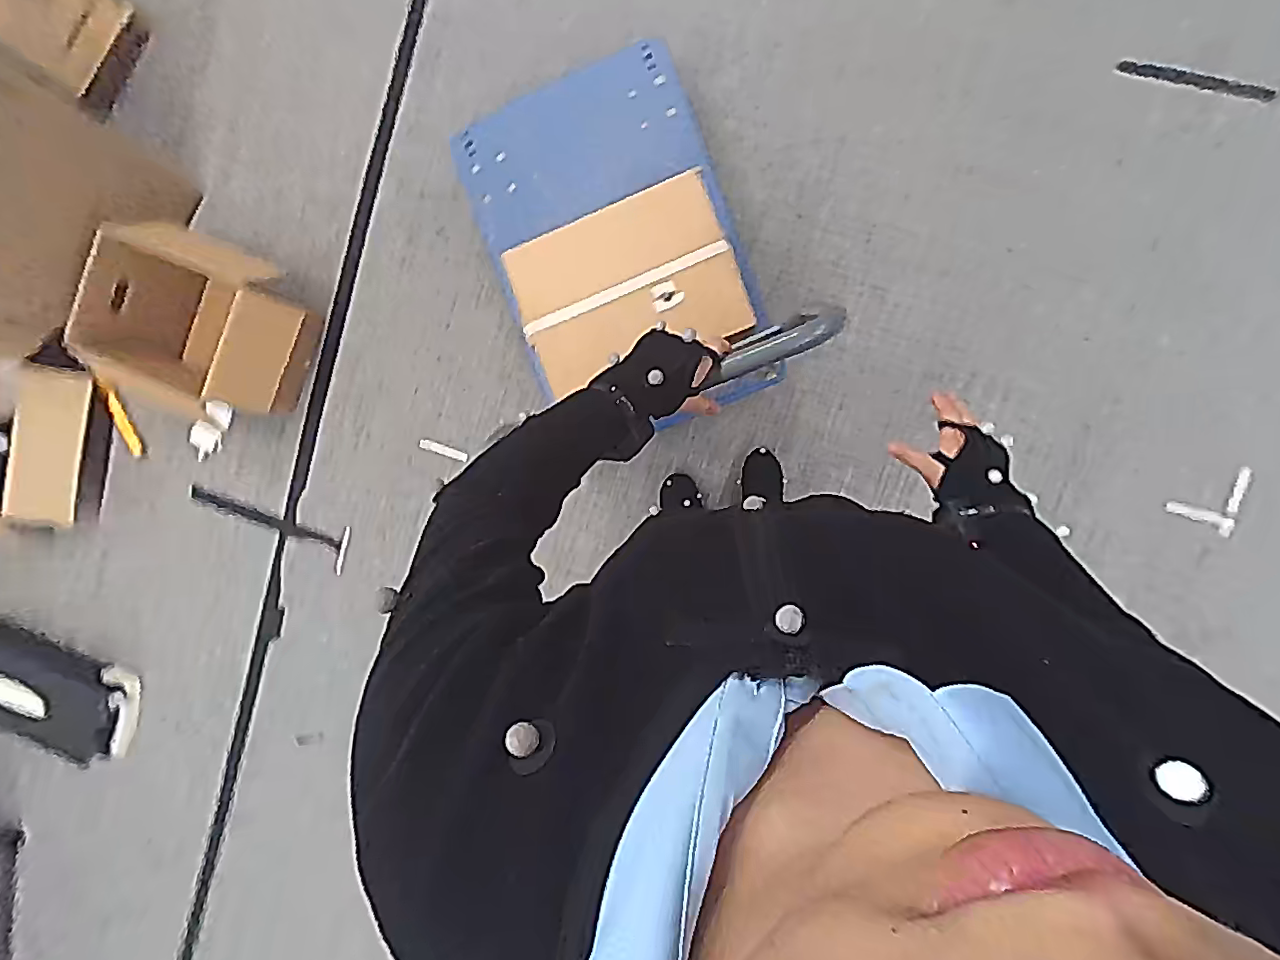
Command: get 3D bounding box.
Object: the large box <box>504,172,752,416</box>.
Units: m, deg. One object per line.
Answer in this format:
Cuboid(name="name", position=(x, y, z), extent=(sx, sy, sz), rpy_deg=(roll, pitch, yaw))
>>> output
Cuboid(name="large box", position=(-0.014, -0.364, 1.170), extent=(0.408, 0.320, 0.320), rpy_deg=(-21, 91, 6))
